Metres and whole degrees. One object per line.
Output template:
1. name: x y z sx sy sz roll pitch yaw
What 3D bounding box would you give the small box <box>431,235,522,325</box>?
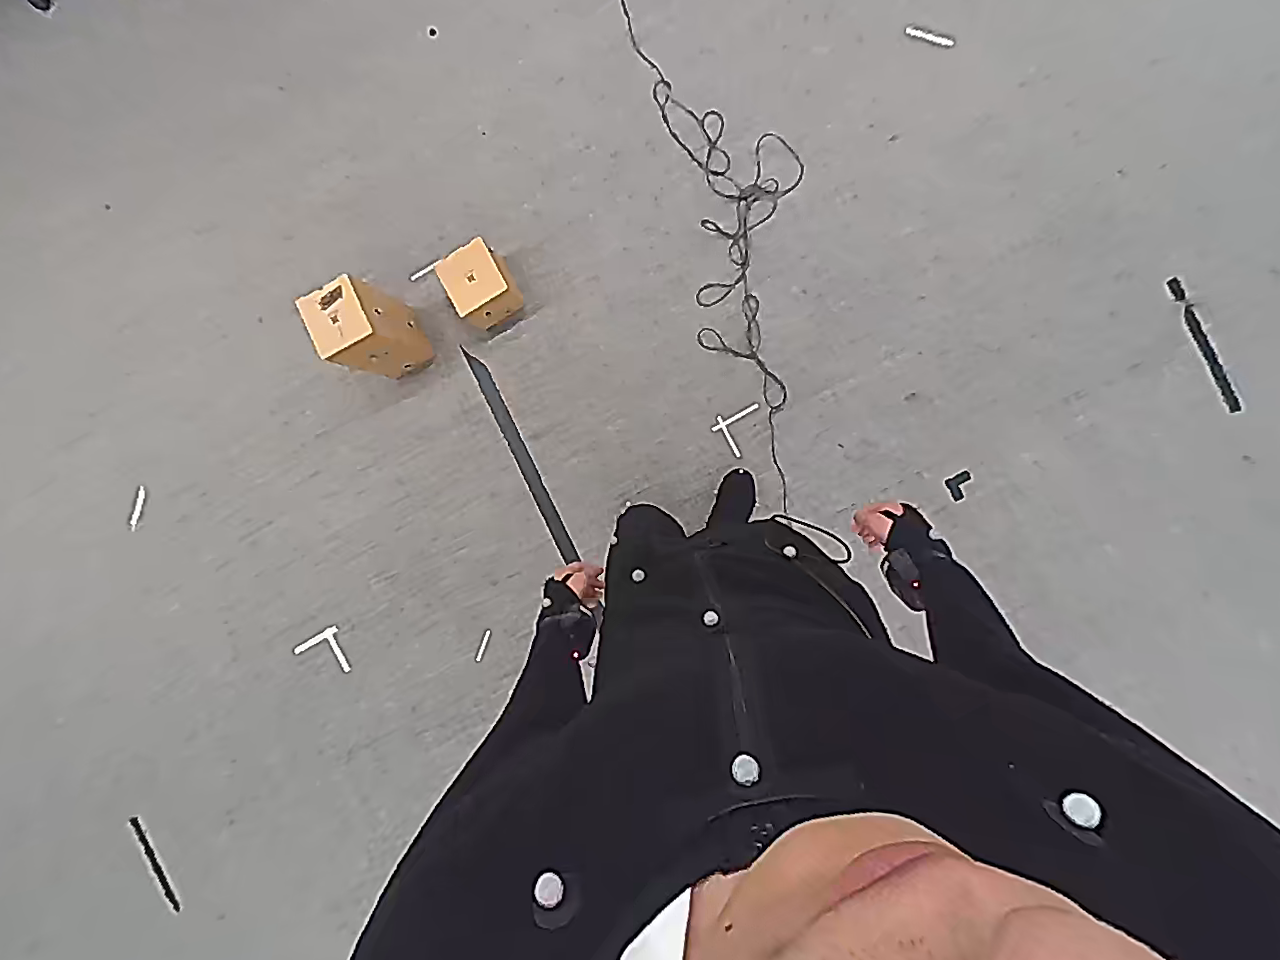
1. small box: -0.480 -0.583 1.612 0.168 0.176 0.179 -29 88 6

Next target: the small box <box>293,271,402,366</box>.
1. small box: -0.794 -0.434 1.484 0.168 0.176 0.179 -25 89 7
